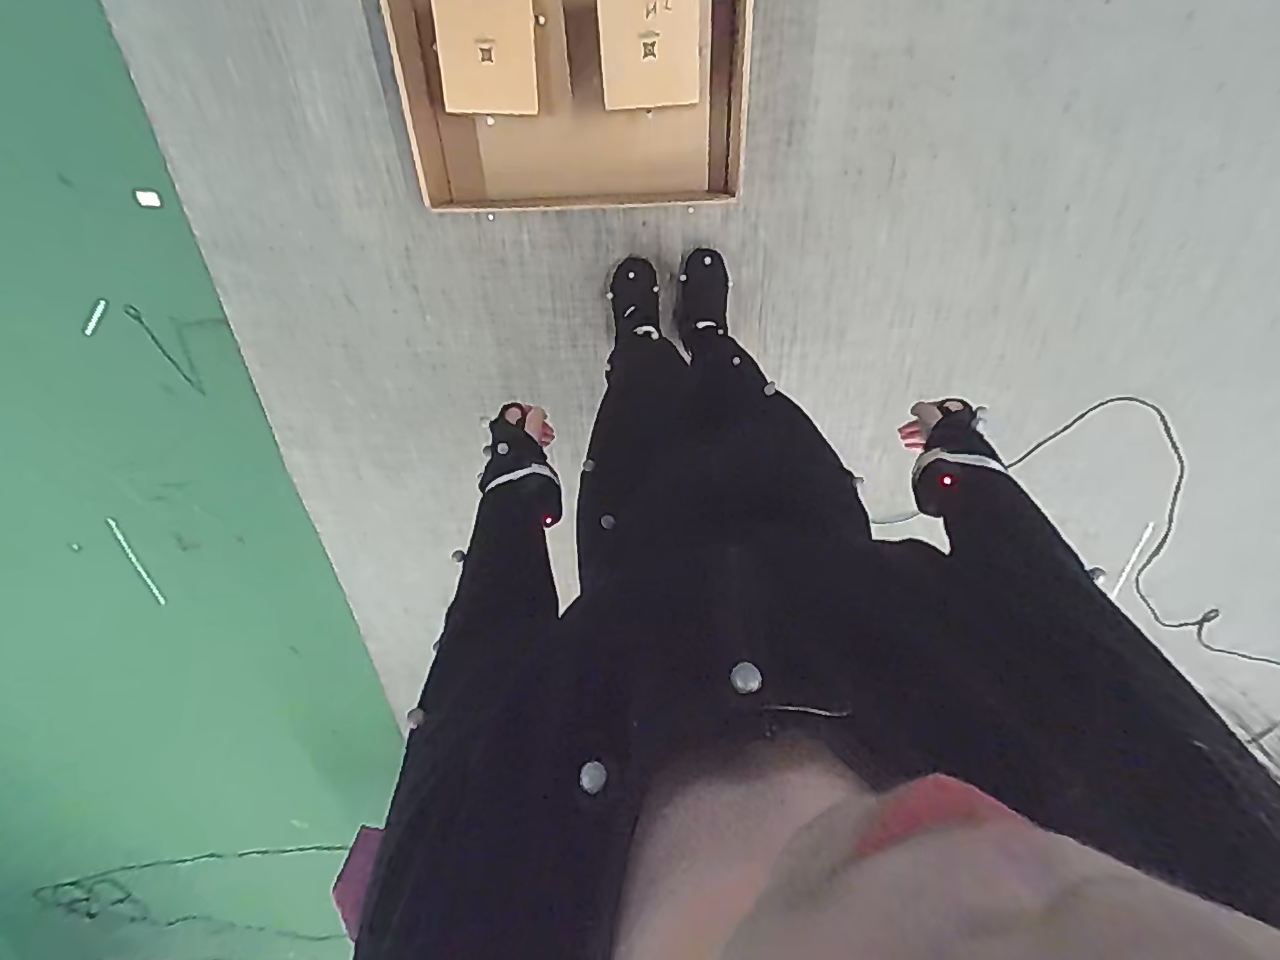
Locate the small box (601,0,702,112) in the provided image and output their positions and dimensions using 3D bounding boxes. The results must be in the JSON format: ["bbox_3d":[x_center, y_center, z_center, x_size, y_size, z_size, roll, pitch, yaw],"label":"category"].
[{"bbox_3d":[0.023,-0.762,0.958,0.168,0.176,0.179,-1,121,3],"label":"small box"}]

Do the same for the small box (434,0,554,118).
[{"bbox_3d":[-0.251,-0.761,0.973,0.168,0.176,0.179,2,121,0],"label":"small box"}]
